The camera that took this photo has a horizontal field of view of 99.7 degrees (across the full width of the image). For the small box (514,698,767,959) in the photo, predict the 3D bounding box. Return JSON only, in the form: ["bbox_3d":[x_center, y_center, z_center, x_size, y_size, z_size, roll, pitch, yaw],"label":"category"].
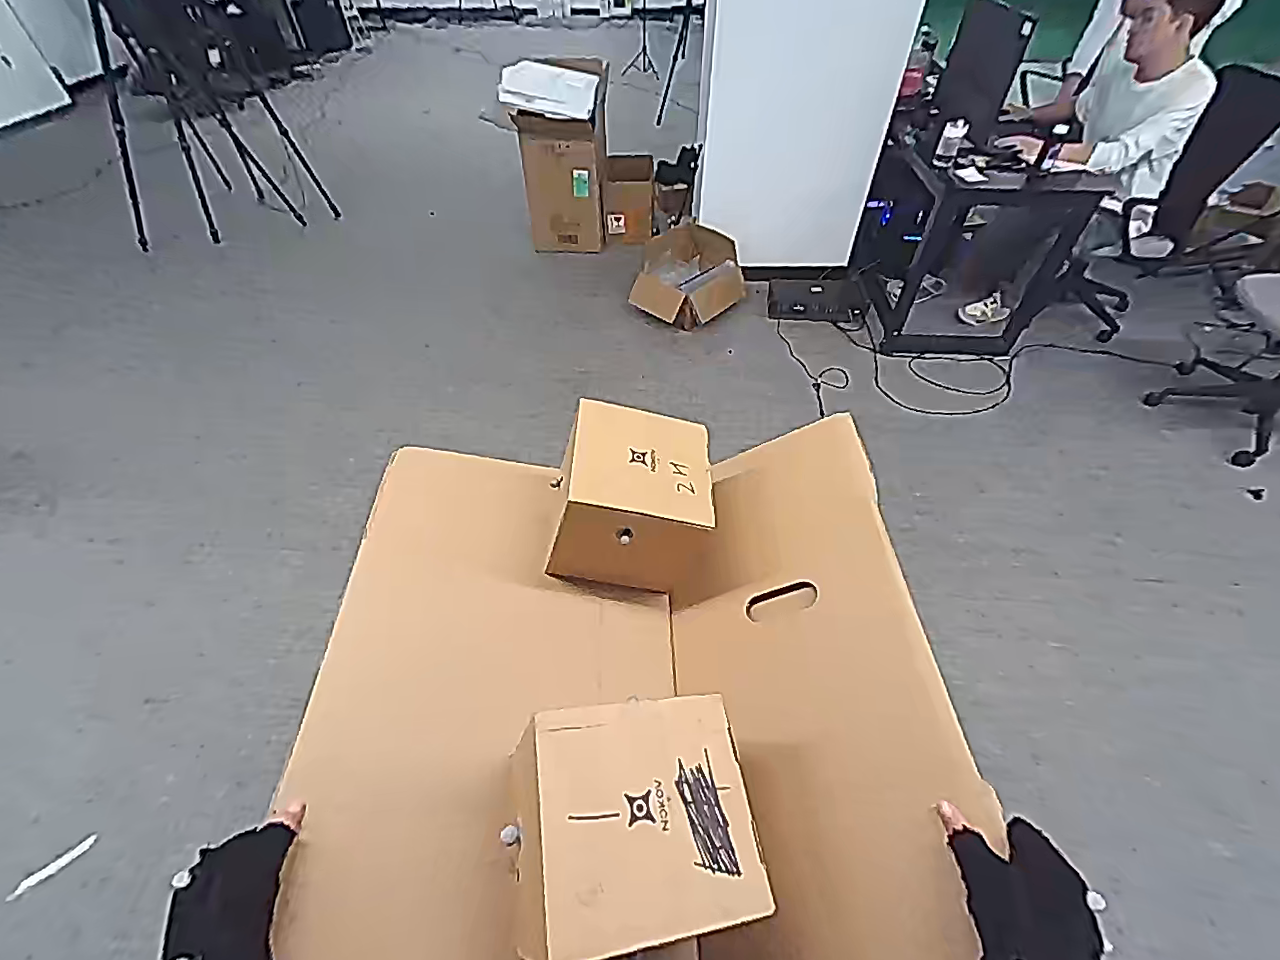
[{"bbox_3d":[-0.017,0.313,0.498,0.179,0.176,0.168,3,52,-19],"label":"small box"}]

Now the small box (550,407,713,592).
[{"bbox_3d":[-0.016,0.033,0.724,0.179,0.176,0.168,13,50,-12],"label":"small box"}]
